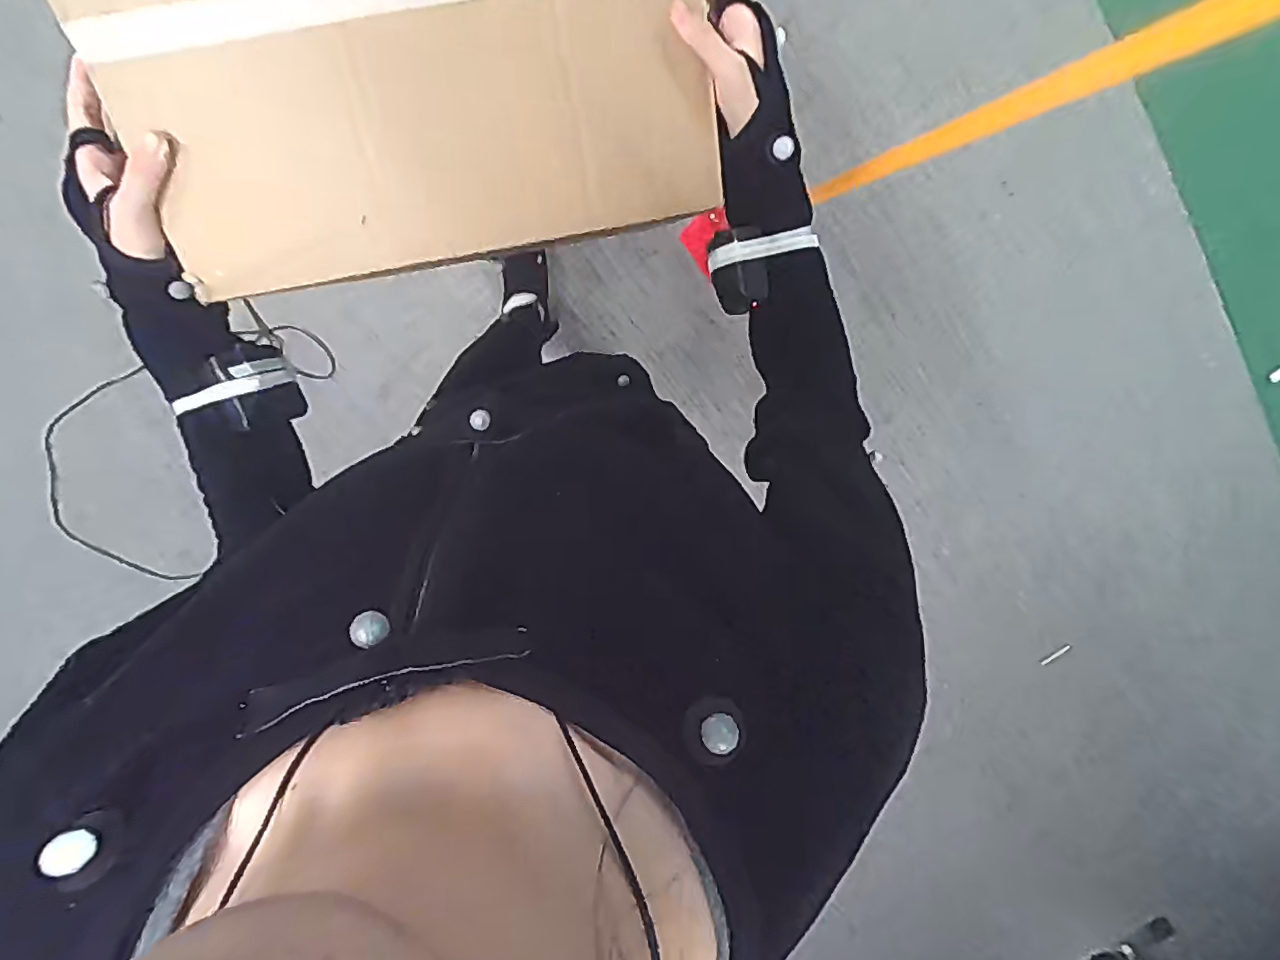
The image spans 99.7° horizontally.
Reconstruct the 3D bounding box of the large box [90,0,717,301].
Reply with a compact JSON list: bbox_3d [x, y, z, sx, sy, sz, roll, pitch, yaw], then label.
[{"bbox_3d":[-0.172,-0.379,0.507,0.408,0.320,0.320,-12,114,-2],"label":"large box"}]
